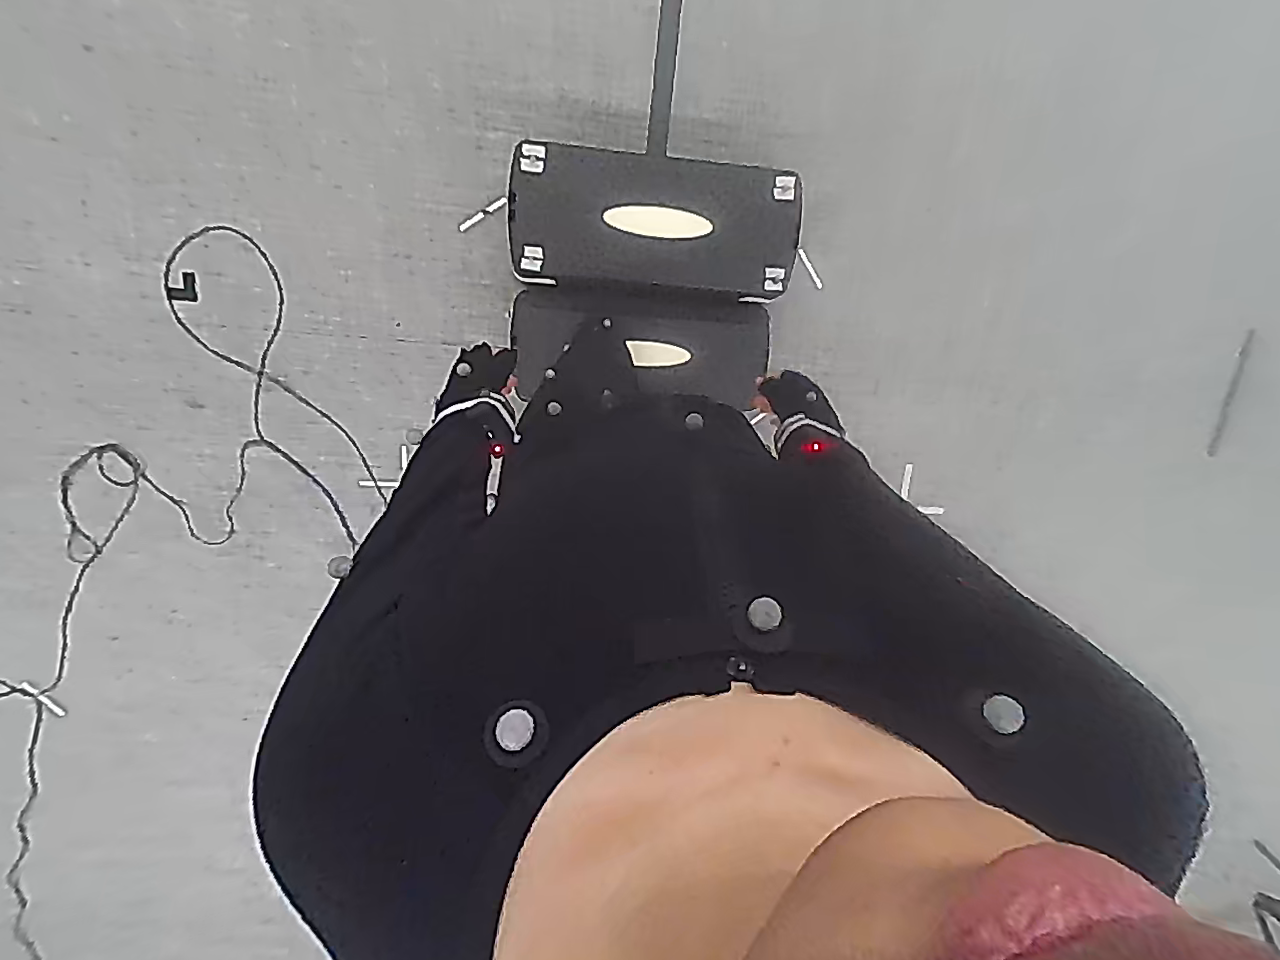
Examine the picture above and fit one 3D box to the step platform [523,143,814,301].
[{"bbox_3d":[0.064,-0.607,1.309,0.684,0.204,0.286,2,104,-7],"label":"step platform"}]
